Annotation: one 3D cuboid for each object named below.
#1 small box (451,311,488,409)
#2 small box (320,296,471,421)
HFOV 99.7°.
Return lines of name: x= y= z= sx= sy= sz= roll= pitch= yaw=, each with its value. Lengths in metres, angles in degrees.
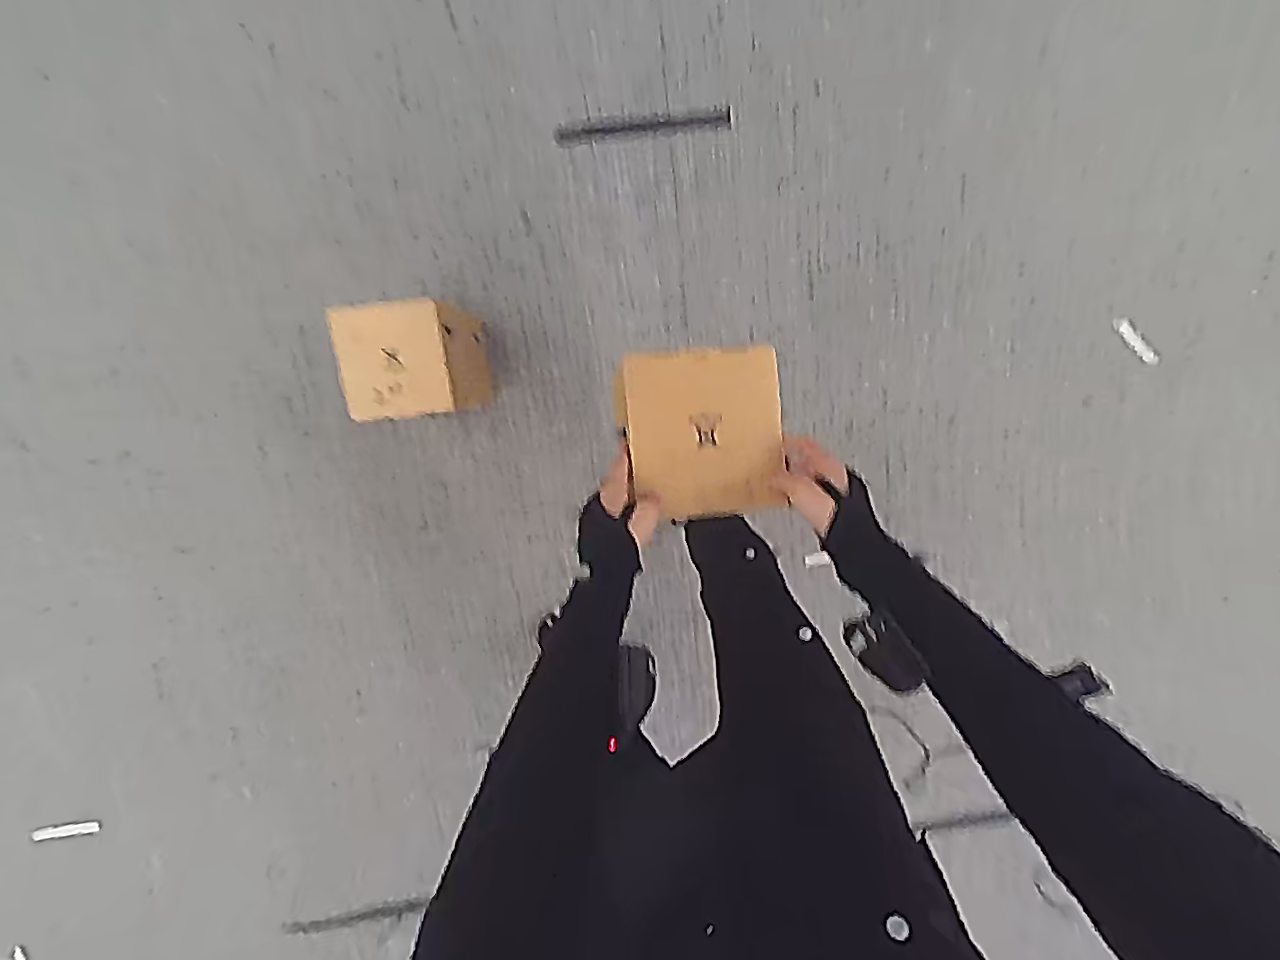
small box: x=-0.408 y=-0.228 z=1.066 sx=0.168 sy=0.176 sz=0.179 roll=-7 pitch=103 yaw=-2
small box: x=-0.395 y=-0.200 z=0.904 sx=0.168 sy=0.176 sz=0.179 roll=-7 pitch=104 yaw=-2
